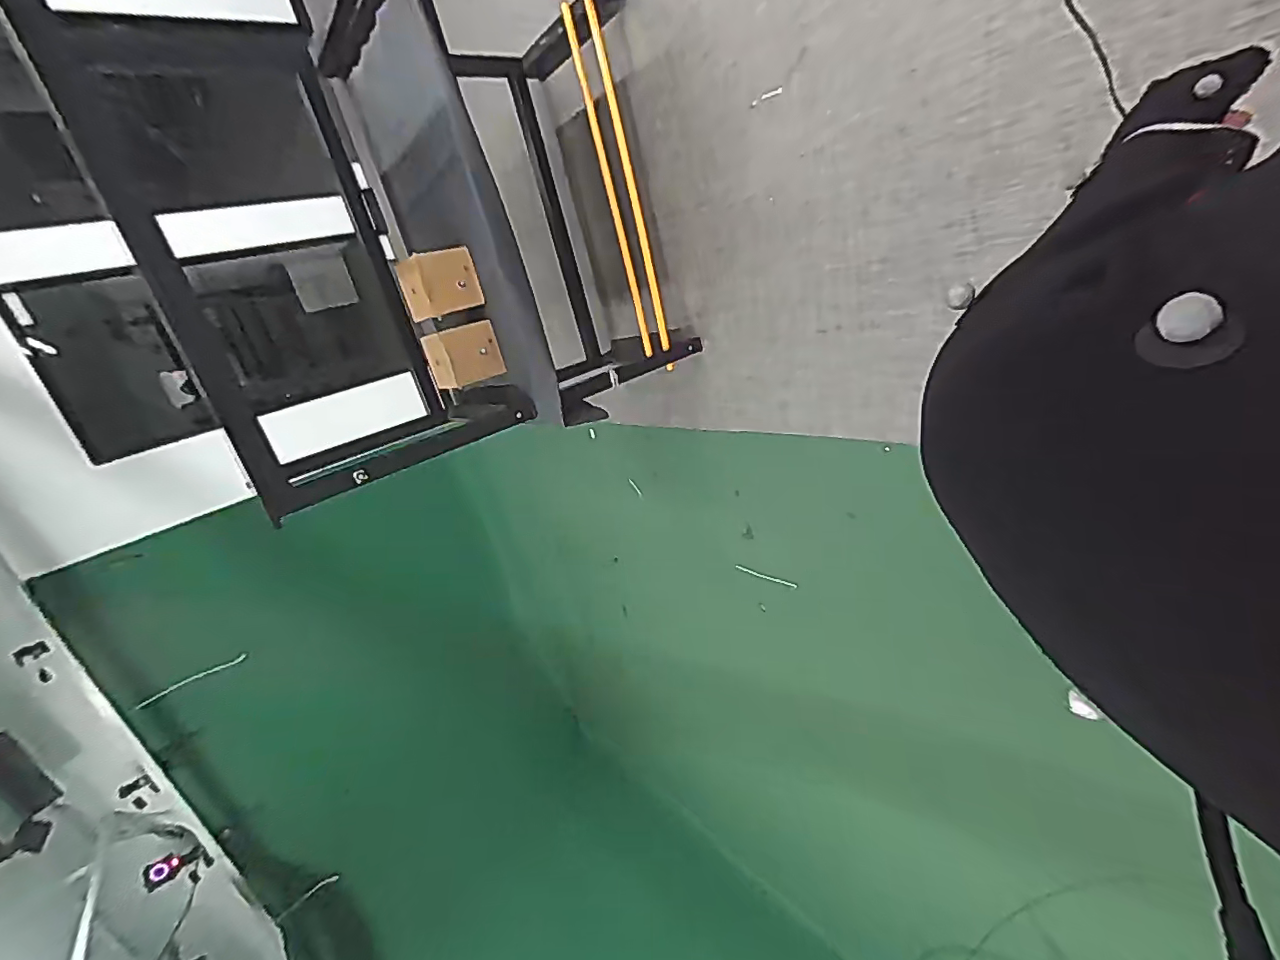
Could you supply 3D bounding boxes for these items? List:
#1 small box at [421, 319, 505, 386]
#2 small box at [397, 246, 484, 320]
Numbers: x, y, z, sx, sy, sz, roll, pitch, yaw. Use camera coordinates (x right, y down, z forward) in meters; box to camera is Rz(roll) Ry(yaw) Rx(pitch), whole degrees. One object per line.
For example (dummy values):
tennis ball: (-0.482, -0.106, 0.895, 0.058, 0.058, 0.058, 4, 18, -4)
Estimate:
small box: (-0.547, -0.394, 1.680, 0.179, 0.176, 0.168, 10, 121, 50)
small box: (-0.590, -0.584, 1.608, 0.179, 0.176, 0.168, 10, 121, 50)
